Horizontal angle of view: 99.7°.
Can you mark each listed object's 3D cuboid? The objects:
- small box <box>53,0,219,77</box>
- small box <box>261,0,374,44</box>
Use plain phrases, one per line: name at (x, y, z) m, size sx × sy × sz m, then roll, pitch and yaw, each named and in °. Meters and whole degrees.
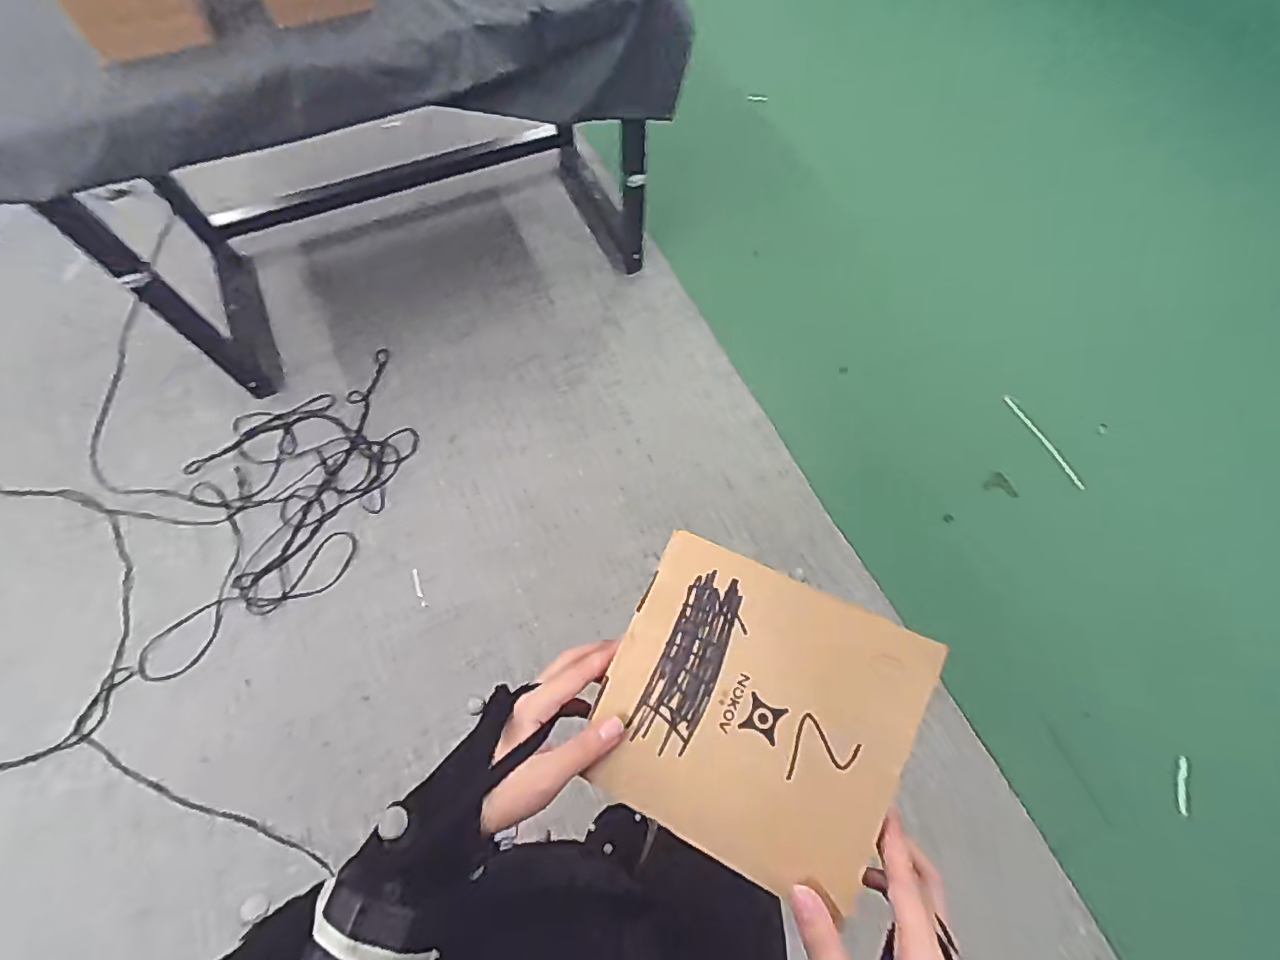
small box at (-0.842, -0.800, 0.882) m, size 0.179 × 0.176 × 0.168 m, roll -24°, pitch 67°, yaw -12°
small box at (-0.587, -0.904, 0.935) m, size 0.179 × 0.176 × 0.168 m, roll -24°, pitch 66°, yaw -10°
